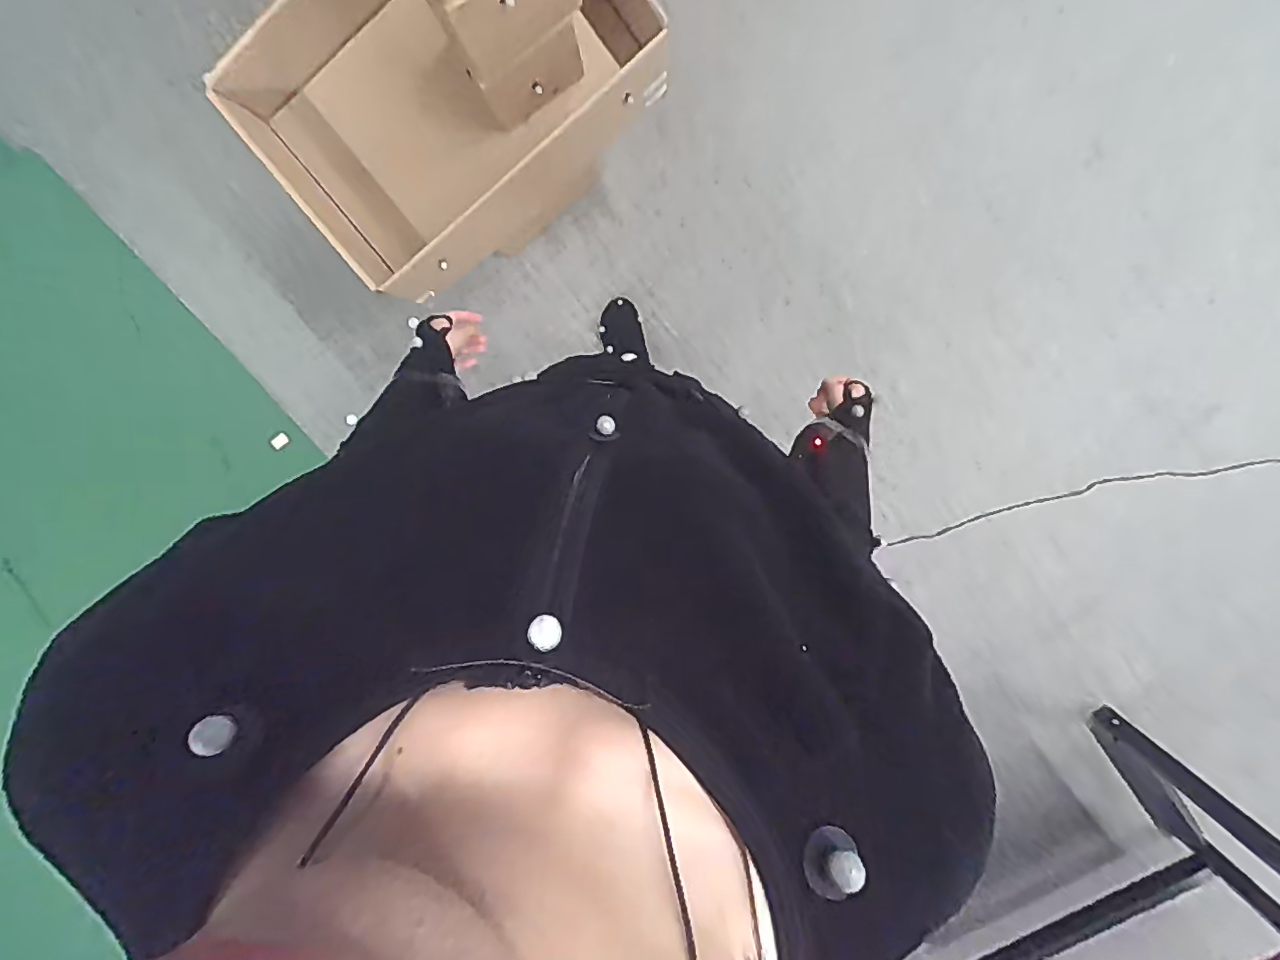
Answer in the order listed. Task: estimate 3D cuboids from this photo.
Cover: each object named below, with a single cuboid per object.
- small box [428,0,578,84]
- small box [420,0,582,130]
[{"bbox_3d":[-0.198,-0.662,0.687,0.179,0.176,0.168,-34,100,7],"label":"small box"},{"bbox_3d":[-0.208,-0.691,0.848,0.168,0.176,0.179,-32,100,7],"label":"small box"}]
